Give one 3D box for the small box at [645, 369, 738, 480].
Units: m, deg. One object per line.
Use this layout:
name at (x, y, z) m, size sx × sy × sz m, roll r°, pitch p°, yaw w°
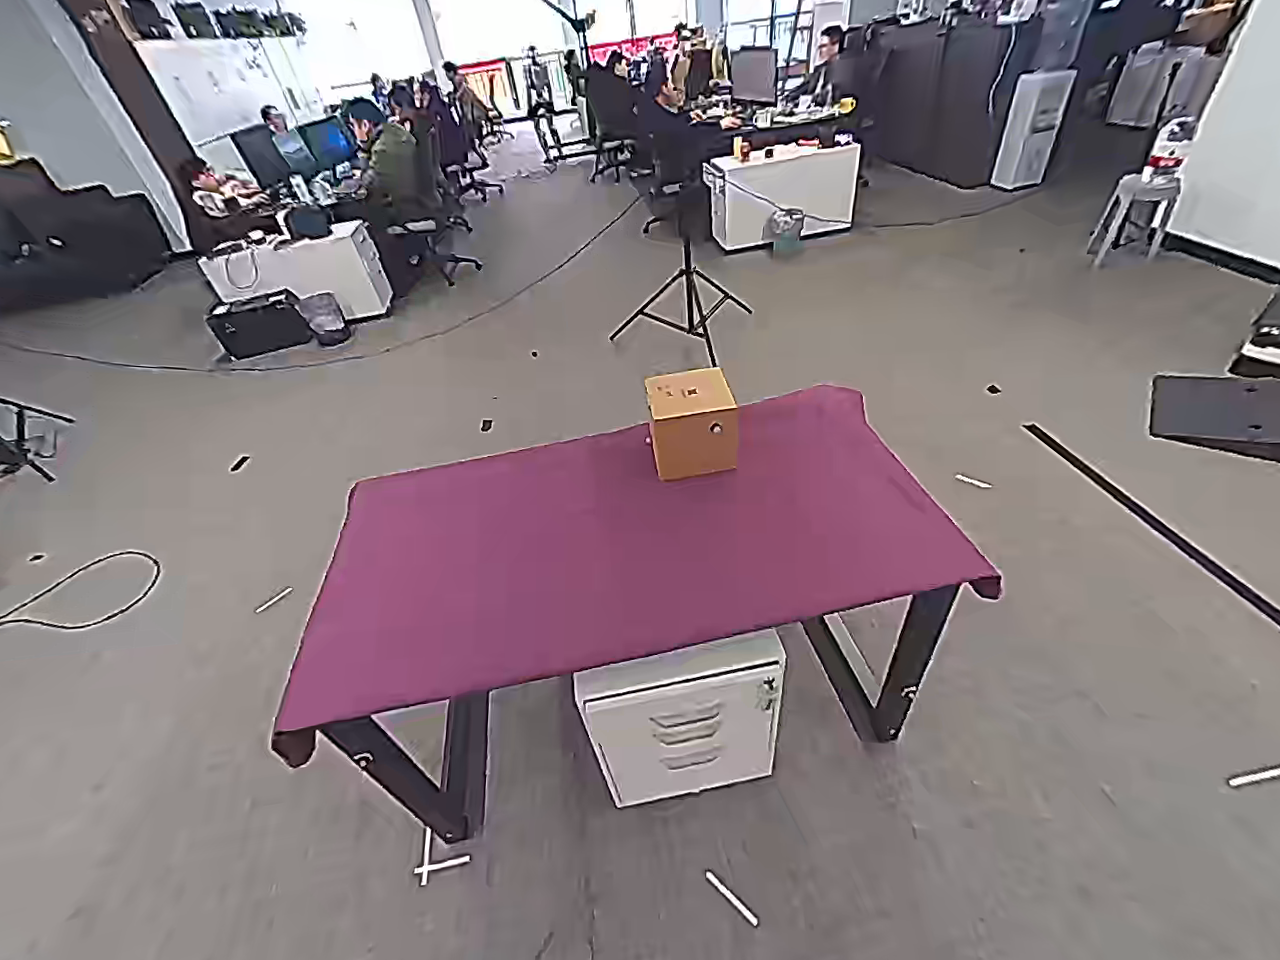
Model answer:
small box at (0.113, -0.122, 1.199) m, size 0.179 × 0.176 × 0.168 m, roll -9°, pitch 41°, yaw 0°
